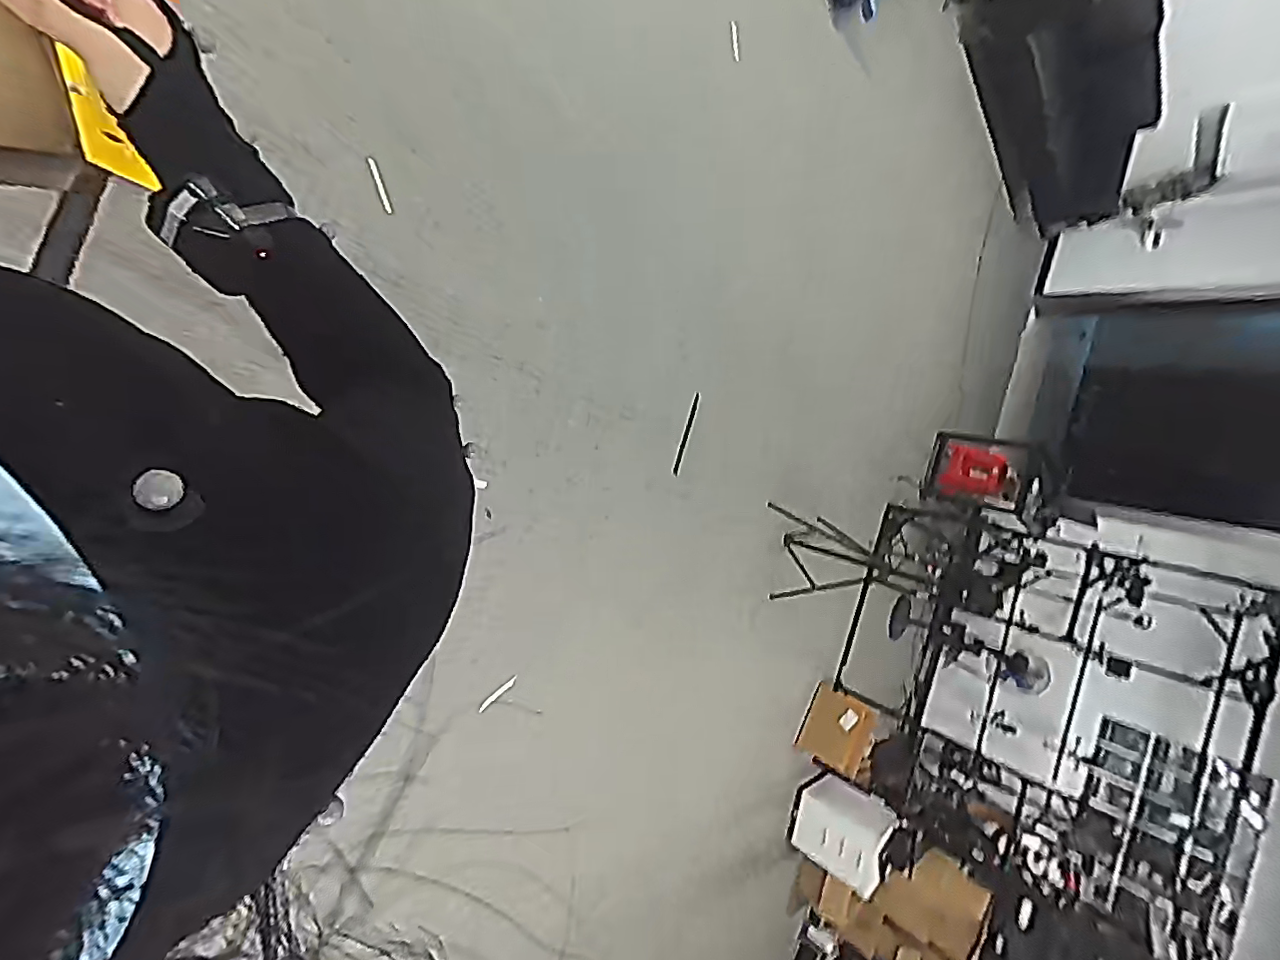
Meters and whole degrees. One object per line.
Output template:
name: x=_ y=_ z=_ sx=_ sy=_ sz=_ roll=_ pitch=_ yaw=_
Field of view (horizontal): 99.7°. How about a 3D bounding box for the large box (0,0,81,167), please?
large box: x=-0.626 y=-0.375 z=0.284 sx=0.408 sy=0.320 sz=0.320 roll=-18 pitch=118 yaw=-42
